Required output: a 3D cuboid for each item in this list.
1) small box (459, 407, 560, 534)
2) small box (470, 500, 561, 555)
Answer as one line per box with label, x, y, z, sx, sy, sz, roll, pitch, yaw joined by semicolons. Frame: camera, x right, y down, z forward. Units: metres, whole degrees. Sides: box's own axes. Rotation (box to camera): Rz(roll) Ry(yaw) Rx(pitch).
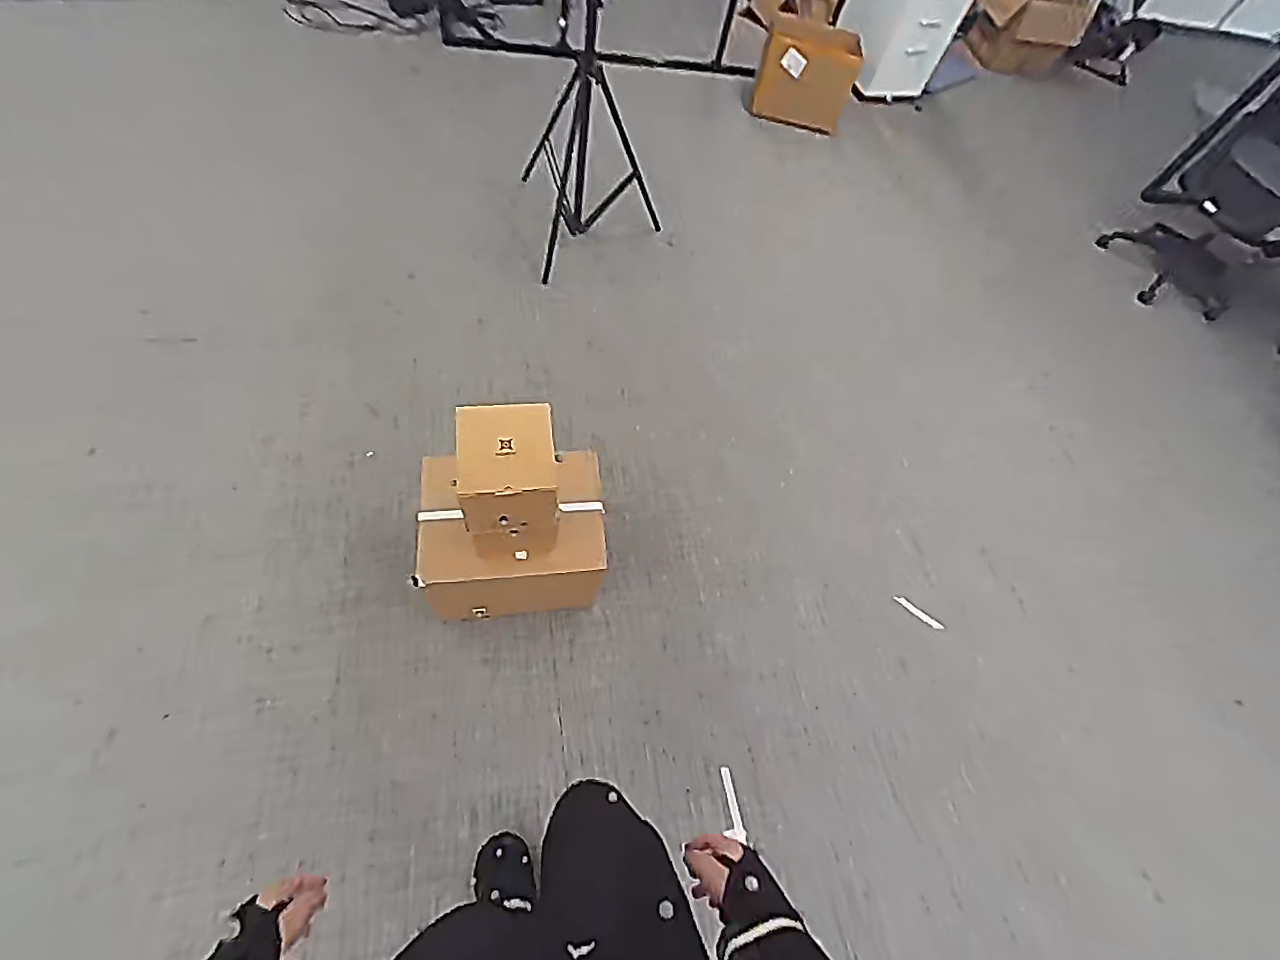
small box;-0.241;-0.015;1.000;0.168;0.176;0.179;-4;65;-13
small box;-0.265;0.052;1.147;0.179;0.176;0.168;-5;64;-14
